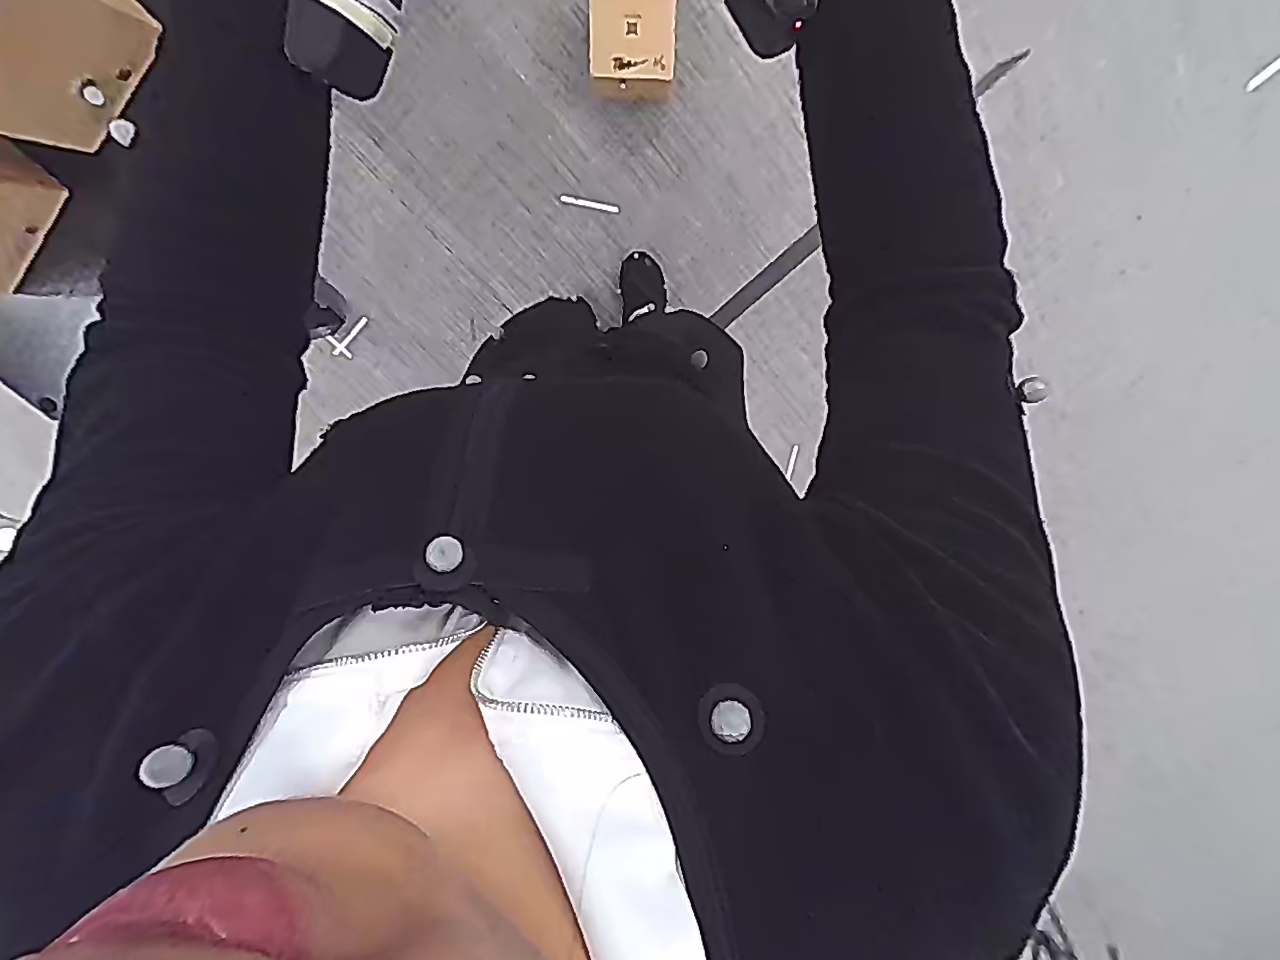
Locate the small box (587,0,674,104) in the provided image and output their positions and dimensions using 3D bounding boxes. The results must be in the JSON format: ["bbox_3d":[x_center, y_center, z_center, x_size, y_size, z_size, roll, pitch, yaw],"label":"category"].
[{"bbox_3d":[-0.020,-0.894,1.098,0.168,0.176,0.179,1,112,0],"label":"small box"}]

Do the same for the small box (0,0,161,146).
[{"bbox_3d":[-0.614,-0.445,0.491,0.168,0.176,0.179,-40,107,15],"label":"small box"}]
